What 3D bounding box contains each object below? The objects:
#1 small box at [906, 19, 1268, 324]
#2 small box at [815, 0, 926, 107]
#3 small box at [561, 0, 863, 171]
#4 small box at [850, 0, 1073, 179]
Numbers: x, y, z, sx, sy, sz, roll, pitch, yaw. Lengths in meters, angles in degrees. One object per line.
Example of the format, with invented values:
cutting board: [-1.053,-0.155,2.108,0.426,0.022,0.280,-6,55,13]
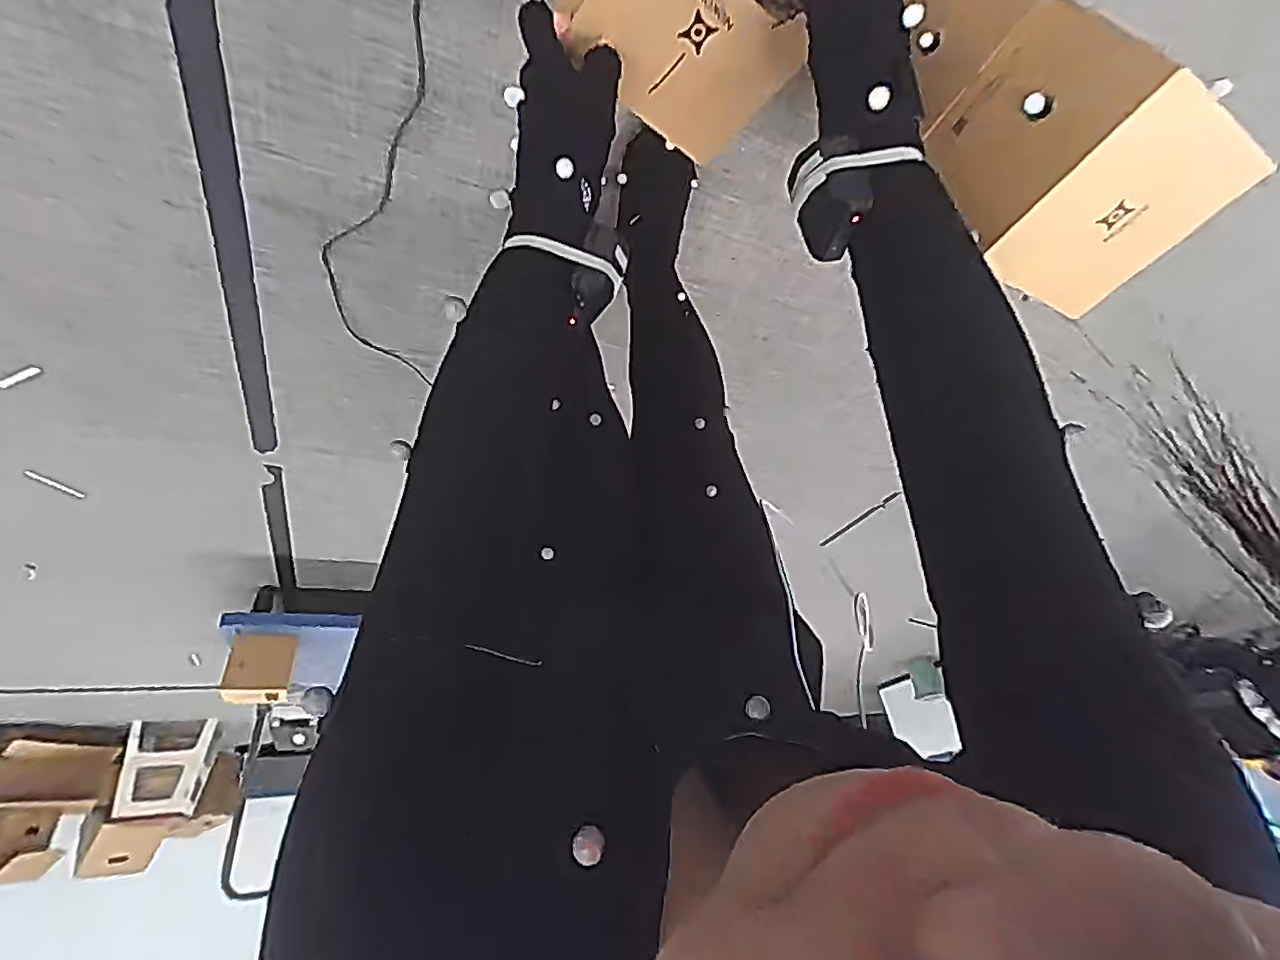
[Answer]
small box: [0.393,-0.283,0.507,0.179,0.176,0.168,9,142,-26]
small box: [0.356,-0.553,0.690,0.179,0.176,0.168,10,142,-26]
small box: [0.046,-0.415,0.443,0.168,0.176,0.179,15,152,-36]
small box: [0.368,-0.417,0.596,0.179,0.176,0.168,11,142,-28]
